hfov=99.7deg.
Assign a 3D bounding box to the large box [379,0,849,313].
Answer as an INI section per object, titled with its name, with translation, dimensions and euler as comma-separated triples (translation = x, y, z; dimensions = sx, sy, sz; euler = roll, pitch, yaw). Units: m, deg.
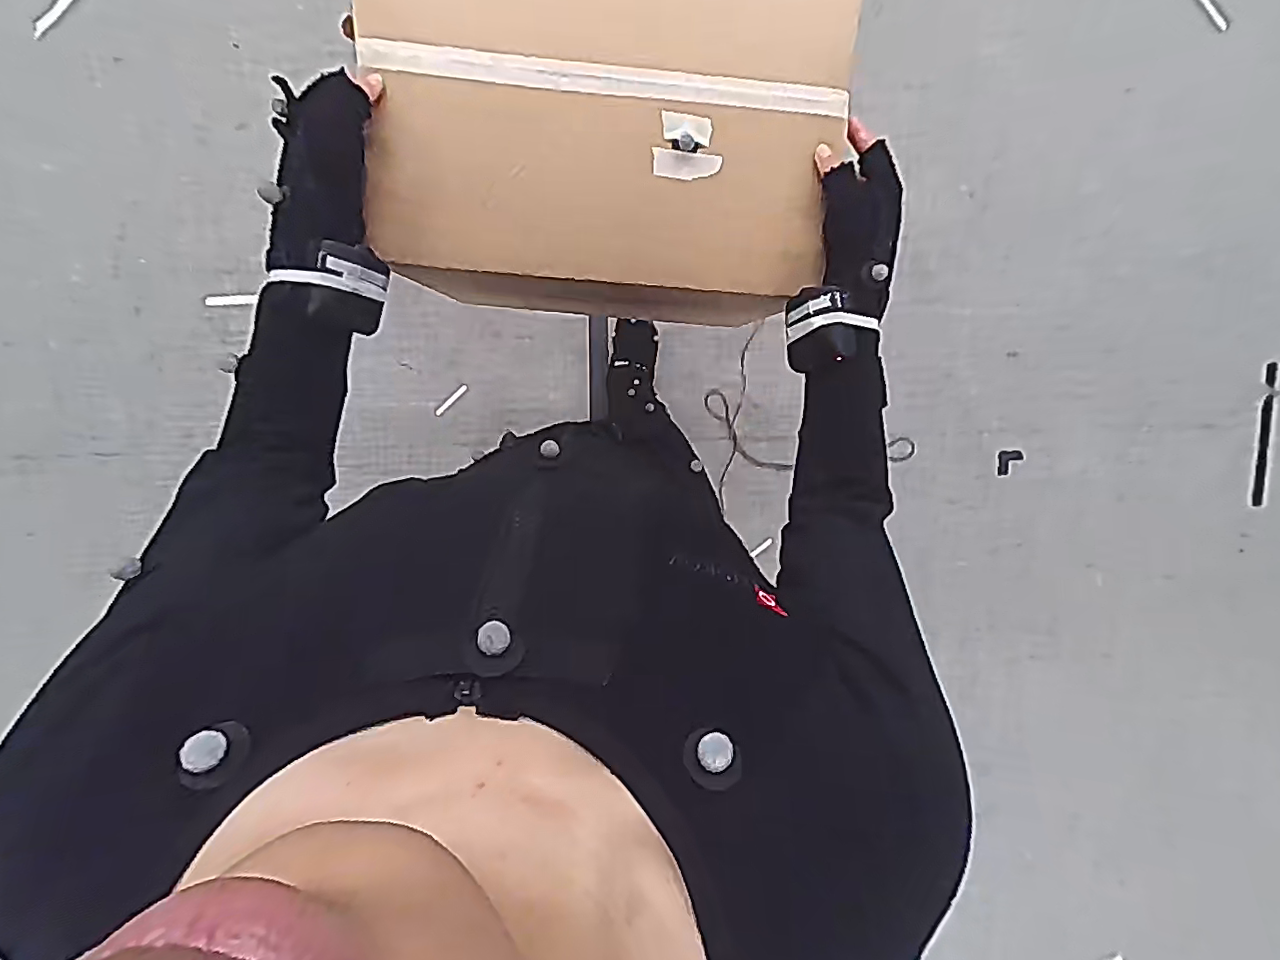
[large box]
translation = -0.032, -0.373, 0.613
dimensions = 0.408, 0.320, 0.320
euler = 3, 102, -5
